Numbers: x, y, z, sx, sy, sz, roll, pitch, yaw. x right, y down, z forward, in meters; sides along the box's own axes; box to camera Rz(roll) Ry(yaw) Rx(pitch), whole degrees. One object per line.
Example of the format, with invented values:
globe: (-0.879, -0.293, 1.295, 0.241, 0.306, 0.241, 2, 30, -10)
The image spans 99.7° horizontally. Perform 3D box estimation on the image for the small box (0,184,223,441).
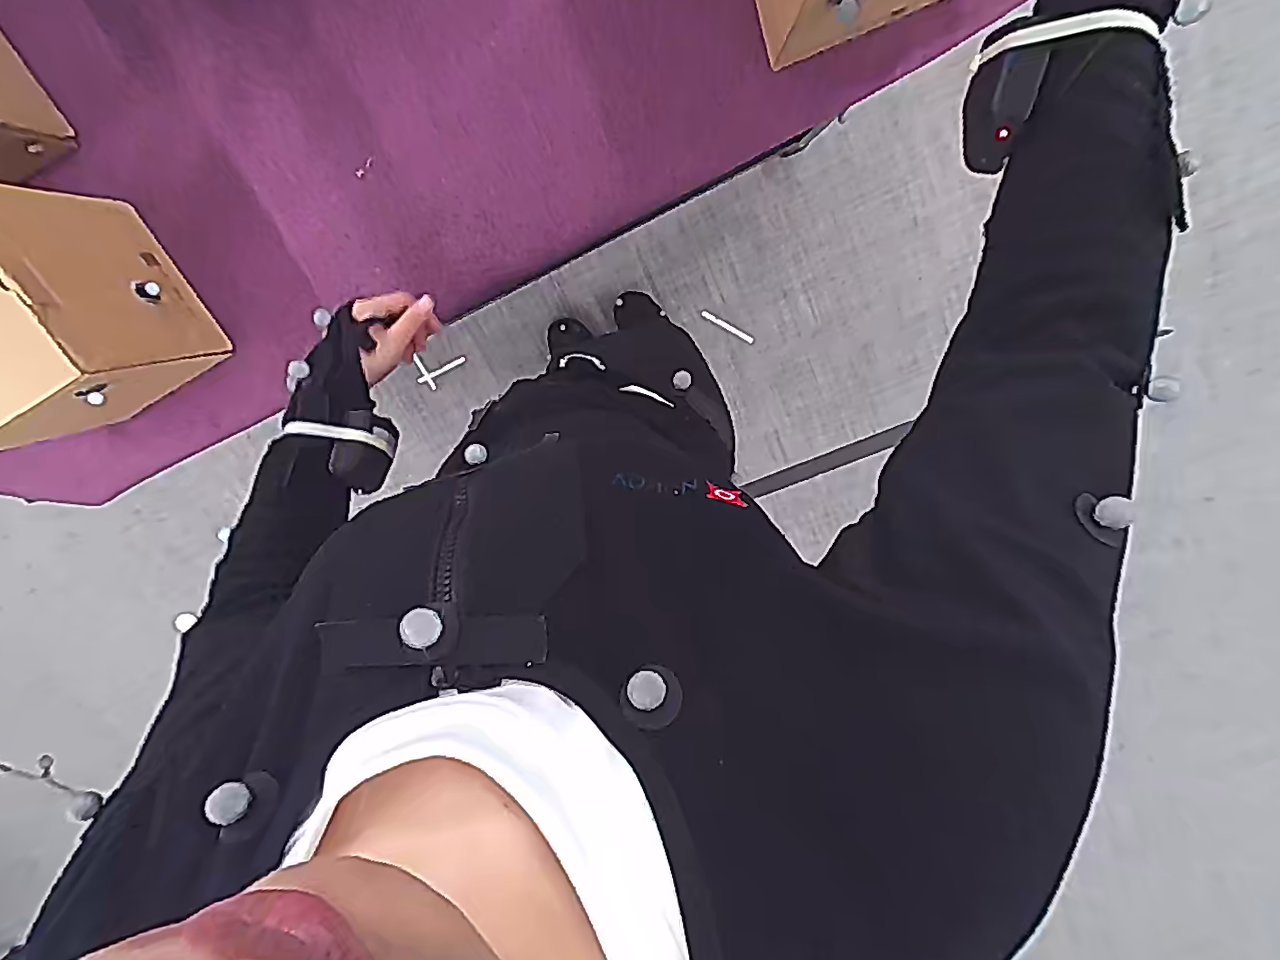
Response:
small box: (-0.560, -0.148, 0.508, 0.179, 0.176, 0.168, -26, 107, 10)
